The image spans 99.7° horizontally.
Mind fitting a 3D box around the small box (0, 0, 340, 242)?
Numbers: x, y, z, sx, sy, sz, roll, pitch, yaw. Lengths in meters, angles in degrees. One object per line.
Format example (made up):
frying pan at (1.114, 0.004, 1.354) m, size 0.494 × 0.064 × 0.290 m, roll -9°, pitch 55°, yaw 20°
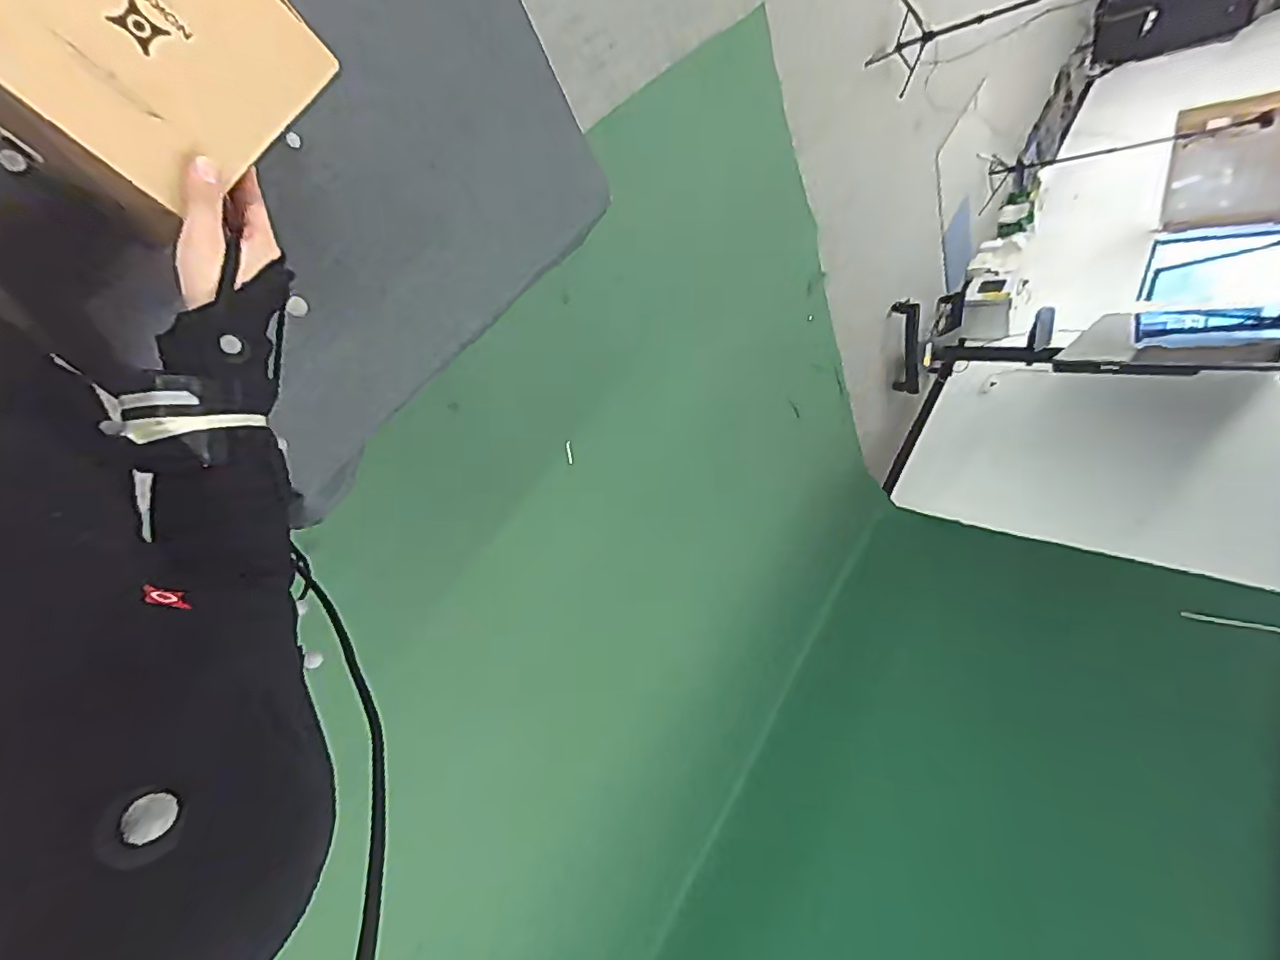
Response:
small box at (-0.368, -0.302, 0.391) m, size 0.168 × 0.176 × 0.179 m, roll 42°, pitch 70°, yaw -44°
